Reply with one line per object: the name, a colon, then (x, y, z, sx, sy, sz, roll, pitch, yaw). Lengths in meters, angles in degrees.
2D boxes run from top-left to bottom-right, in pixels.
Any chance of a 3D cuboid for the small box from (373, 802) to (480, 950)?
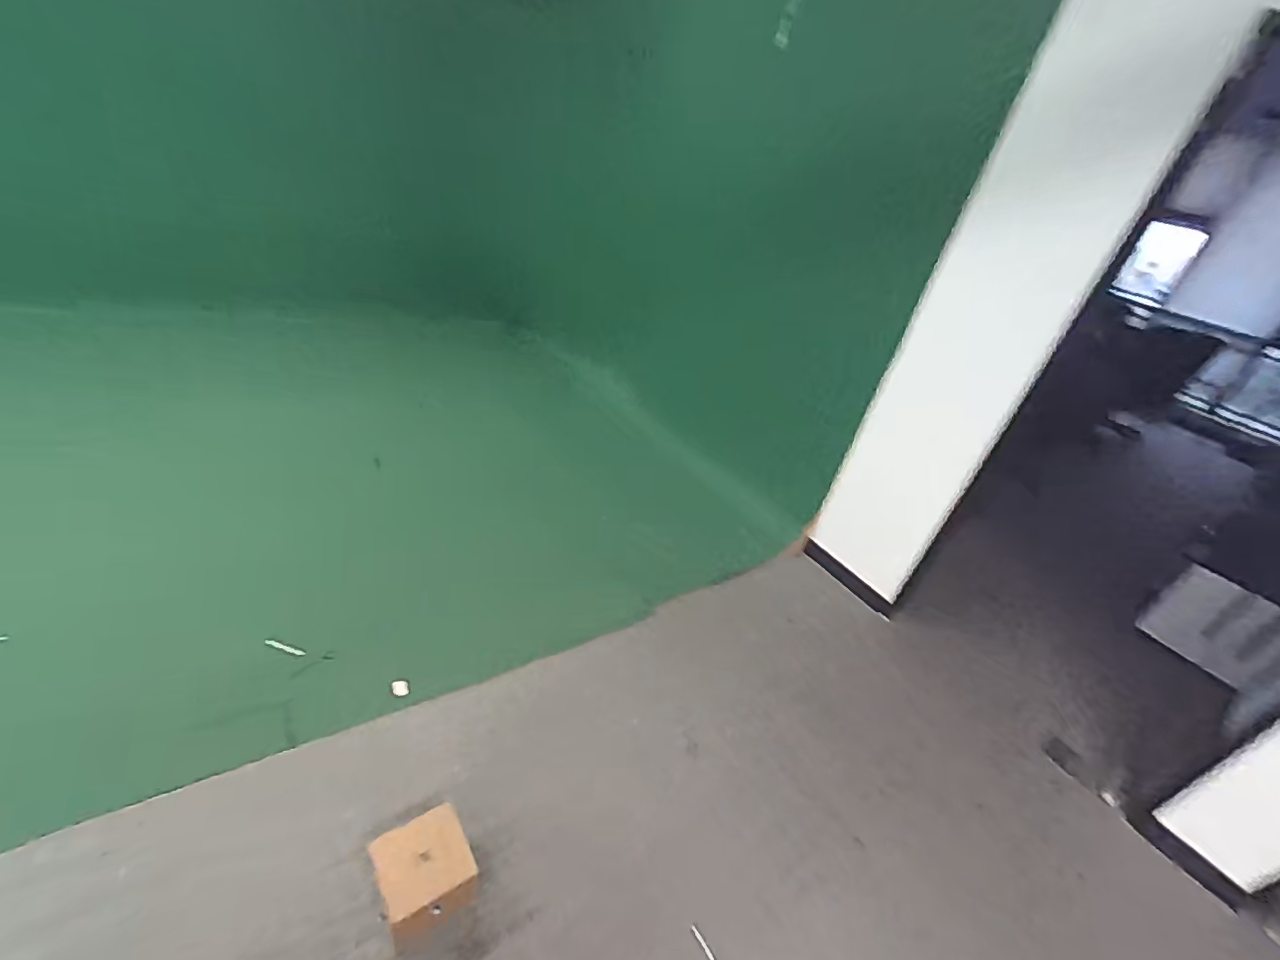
small box: (-0.460, 0.854, 1.168, 0.179, 0.176, 0.168, -11, 40, -35)
